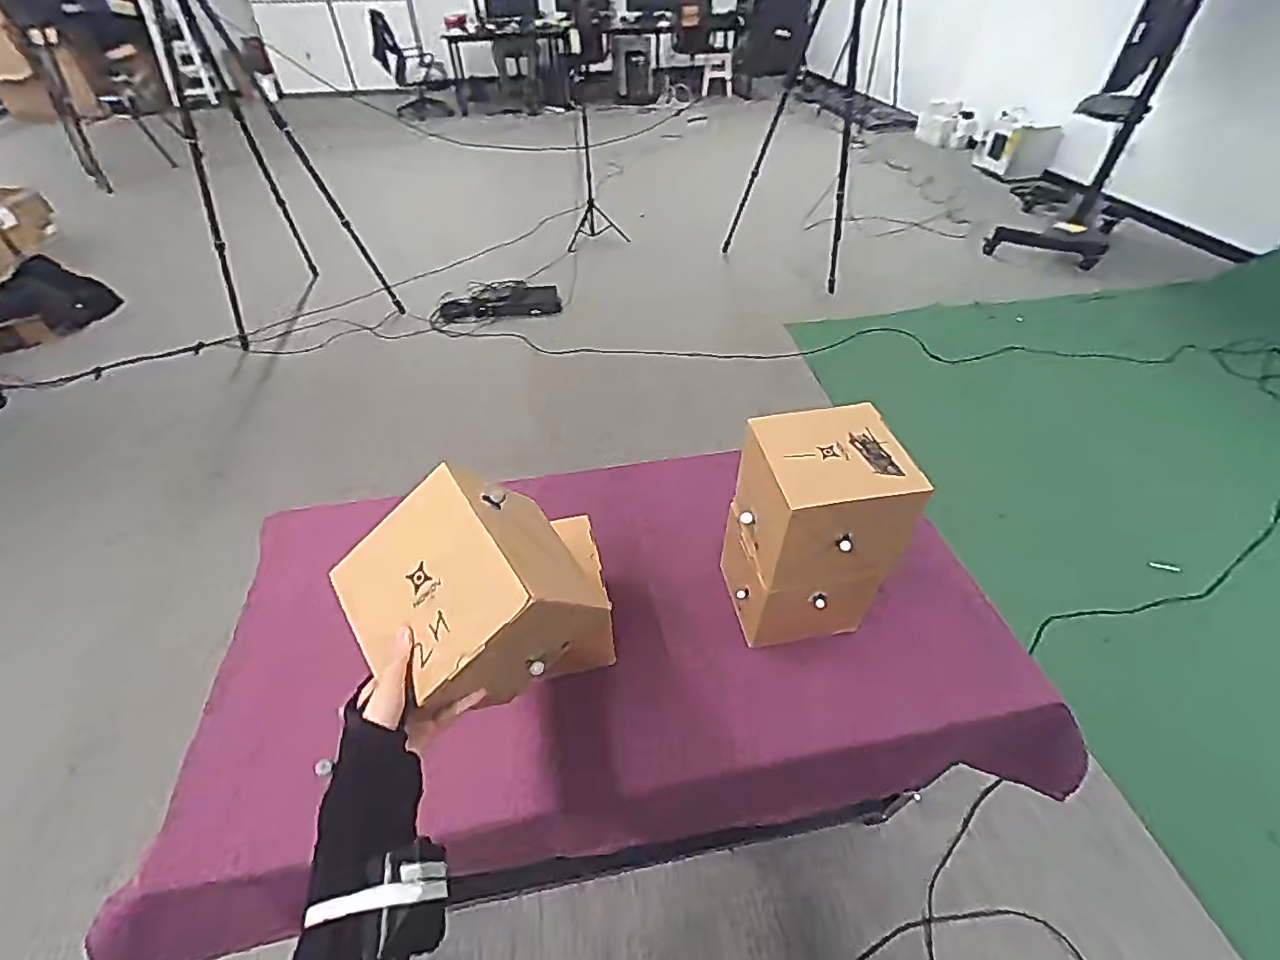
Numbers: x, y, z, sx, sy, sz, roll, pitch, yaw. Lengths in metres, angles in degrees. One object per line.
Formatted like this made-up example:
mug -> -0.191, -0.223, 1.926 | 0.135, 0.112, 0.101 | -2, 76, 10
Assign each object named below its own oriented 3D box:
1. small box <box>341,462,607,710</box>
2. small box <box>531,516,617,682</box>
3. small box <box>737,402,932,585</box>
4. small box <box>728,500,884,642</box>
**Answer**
small box -> -0.166, 0.115, 0.575 | 0.168, 0.176, 0.179 | -42, 64, 5
small box -> -0.137, 0.182, 0.810 | 0.179, 0.176, 0.168 | -11, 46, -10
small box -> 0.242, 0.020, 0.726 | 0.179, 0.176, 0.168 | -9, 47, -5
small box -> 0.242, 0.135, 0.844 | 0.179, 0.176, 0.168 | -8, 47, -6
